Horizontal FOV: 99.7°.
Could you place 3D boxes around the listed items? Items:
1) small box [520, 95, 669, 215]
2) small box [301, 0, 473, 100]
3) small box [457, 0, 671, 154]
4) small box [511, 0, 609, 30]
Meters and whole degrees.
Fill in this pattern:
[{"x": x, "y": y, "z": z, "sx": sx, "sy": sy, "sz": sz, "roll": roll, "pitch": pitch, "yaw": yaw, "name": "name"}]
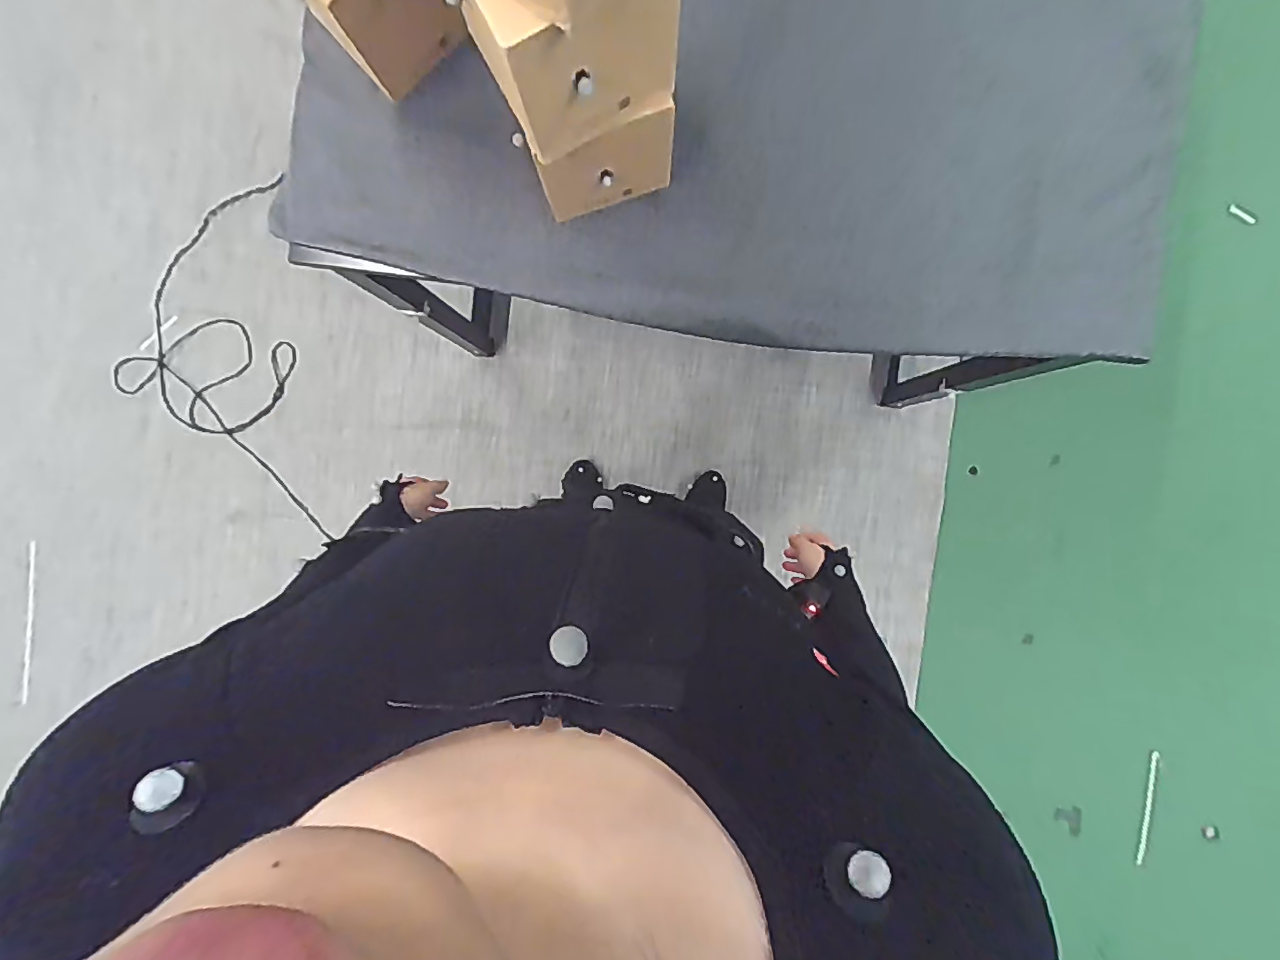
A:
[{"x": -0.066, "y": -0.458, "z": 0.670, "sx": 0.168, "sy": 0.176, "sz": 0.179, "roll": -18, "pitch": 90, "yaw": 1, "name": "small box"}, {"x": -0.341, "y": -0.636, "z": 0.673, "sx": 0.168, "sy": 0.176, "sz": 0.179, "roll": -42, "pitch": 90, "yaw": 2, "name": "small box"}, {"x": -0.076, "y": -0.449, "z": 0.508, "sx": 0.168, "sy": 0.176, "sz": 0.179, "roll": -29, "pitch": 90, "yaw": 2, "name": "small box"}, {"x": -0.076, "y": -0.455, "z": 0.345, "sx": 0.179, "sy": 0.176, "sz": 0.168, "roll": 36, "pitch": 93, "yaw": 1, "name": "small box"}]
